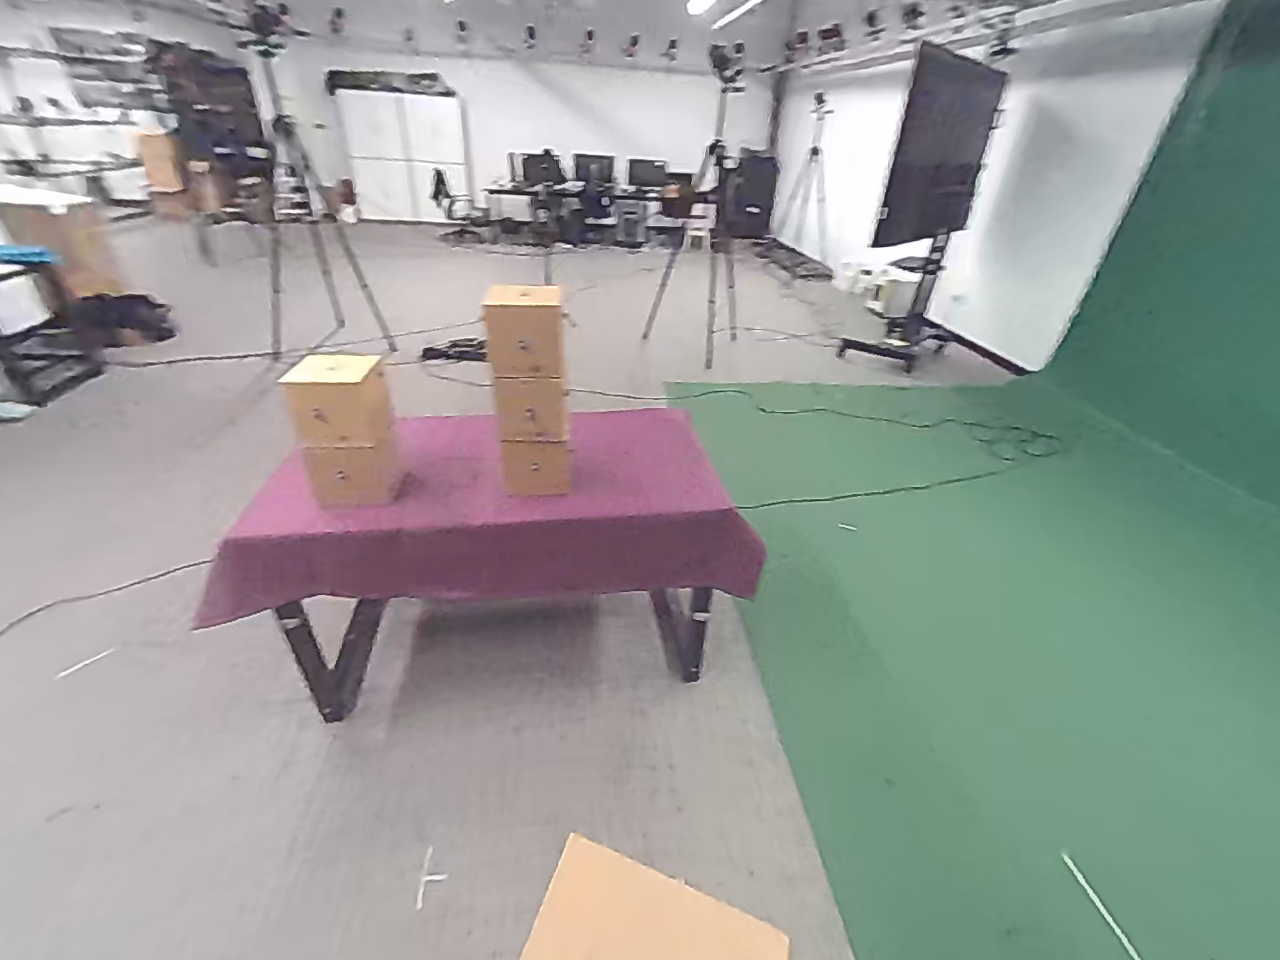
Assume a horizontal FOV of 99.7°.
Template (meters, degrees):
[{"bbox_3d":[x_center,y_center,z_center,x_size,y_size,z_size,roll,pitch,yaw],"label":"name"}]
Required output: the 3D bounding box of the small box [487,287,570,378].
[{"bbox_3d":[-0.253,-0.347,1.269,0.168,0.176,0.179,0,32,-5],"label":"small box"}]

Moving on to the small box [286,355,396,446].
[{"bbox_3d":[-0.697,-0.189,1.286,0.168,0.176,0.179,-1,32,-7],"label":"small box"}]

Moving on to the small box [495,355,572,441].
[{"bbox_3d":[-0.259,-0.208,1.359,0.168,0.176,0.179,1,33,-4],"label":"small box"}]

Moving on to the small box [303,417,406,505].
[{"bbox_3d":[-0.709,-0.050,1.370,0.179,0.176,0.168,-2,33,-8],"label":"small box"}]
